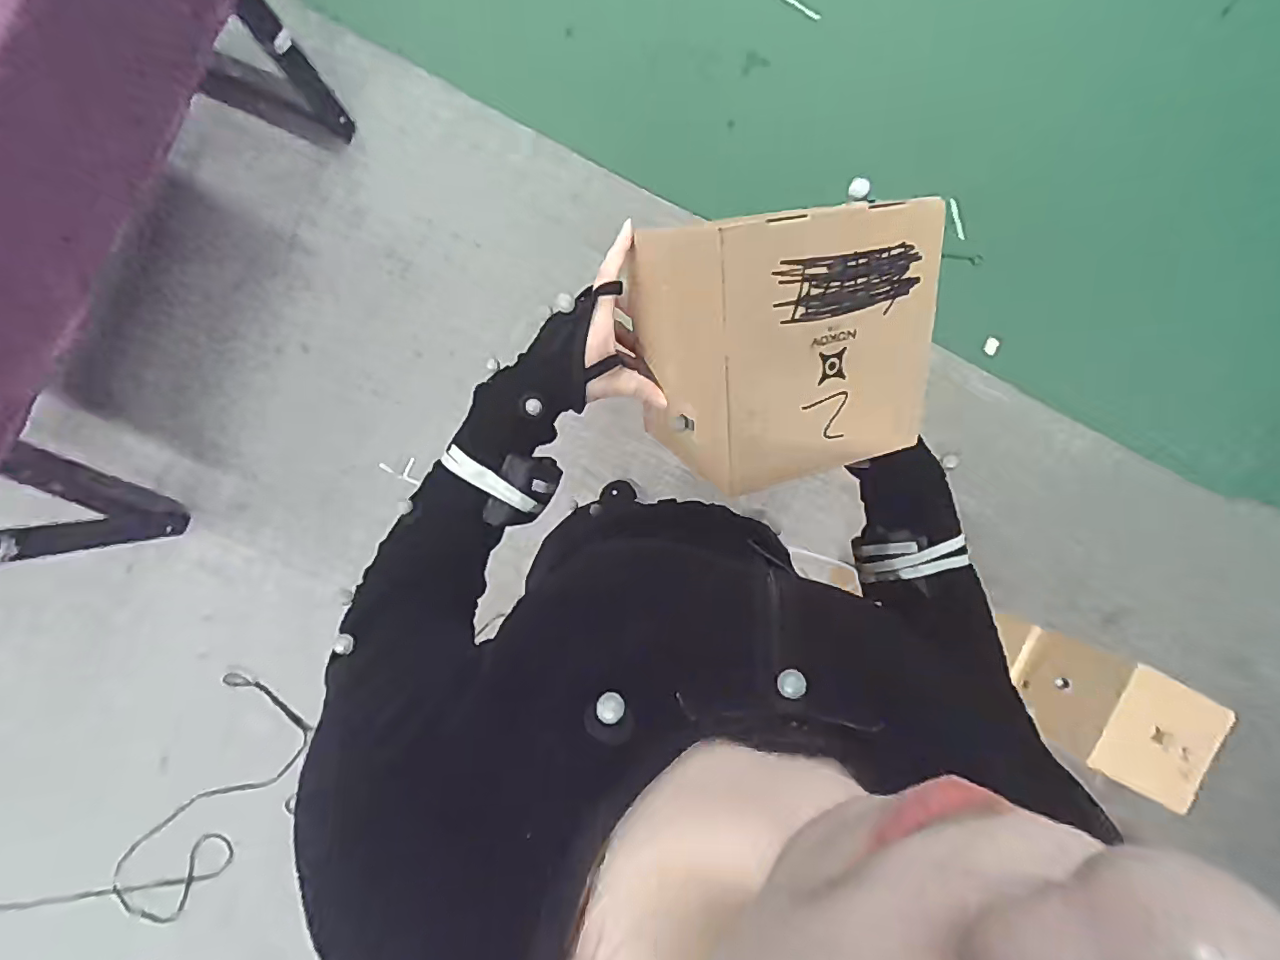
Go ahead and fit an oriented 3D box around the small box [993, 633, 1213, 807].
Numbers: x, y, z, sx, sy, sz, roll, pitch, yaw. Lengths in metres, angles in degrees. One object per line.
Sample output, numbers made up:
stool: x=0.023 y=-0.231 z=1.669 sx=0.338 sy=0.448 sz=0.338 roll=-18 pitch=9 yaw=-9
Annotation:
small box: x=0.718 y=0.365 z=0.862 sx=0.179 sy=0.176 sz=0.168 roll=29 pitch=90 yaw=-5
